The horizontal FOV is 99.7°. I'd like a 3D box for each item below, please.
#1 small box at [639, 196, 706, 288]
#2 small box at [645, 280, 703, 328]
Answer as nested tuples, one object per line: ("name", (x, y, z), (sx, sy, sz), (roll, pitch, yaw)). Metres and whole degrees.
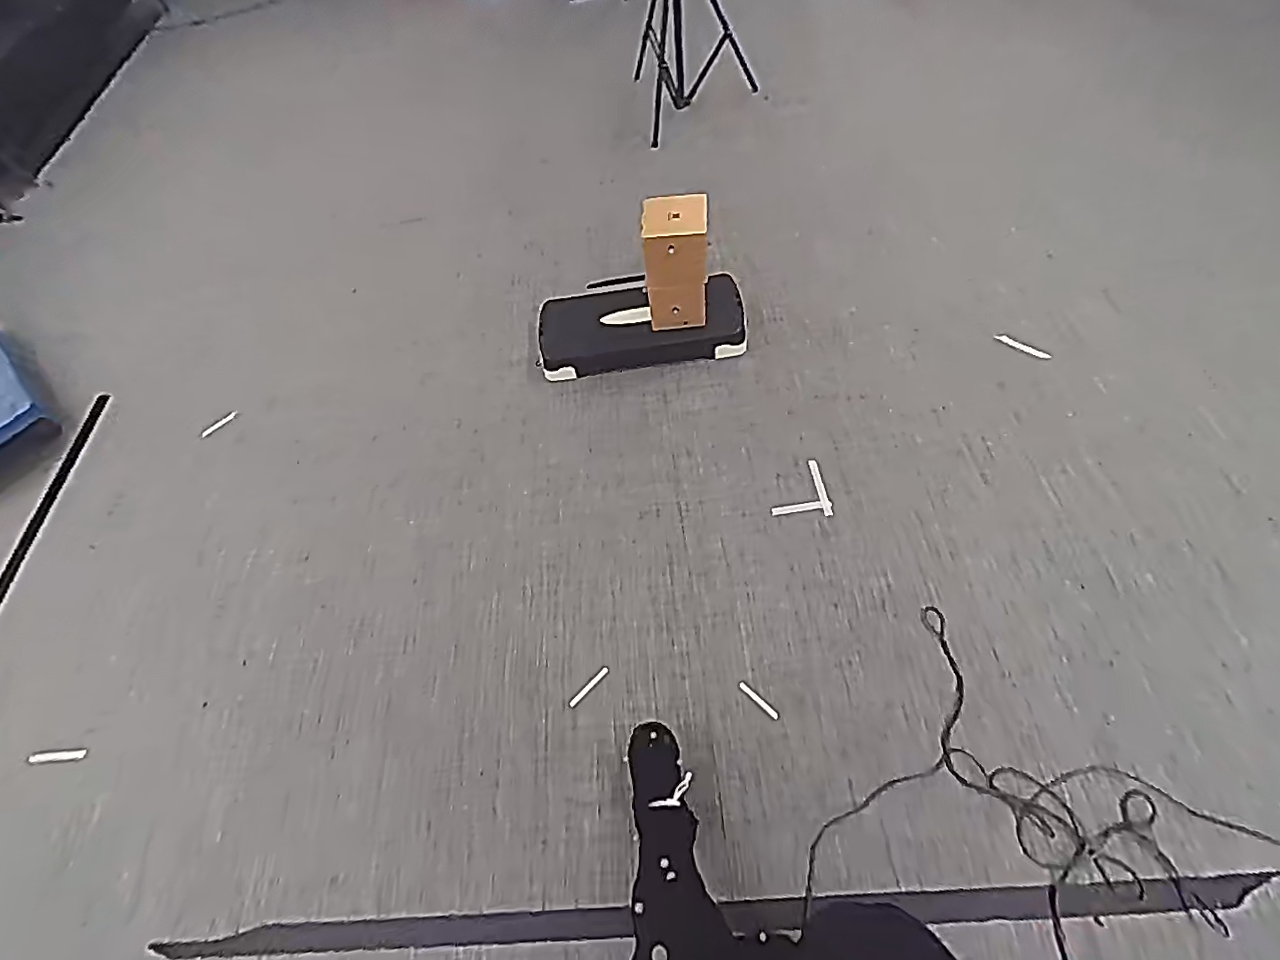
("small box", (0.098, -0.663, 1.518), (0.179, 0.176, 0.168), (-2, 61, 8))
("small box", (0.106, -0.583, 1.660), (0.168, 0.176, 0.179), (-4, 60, 5))
